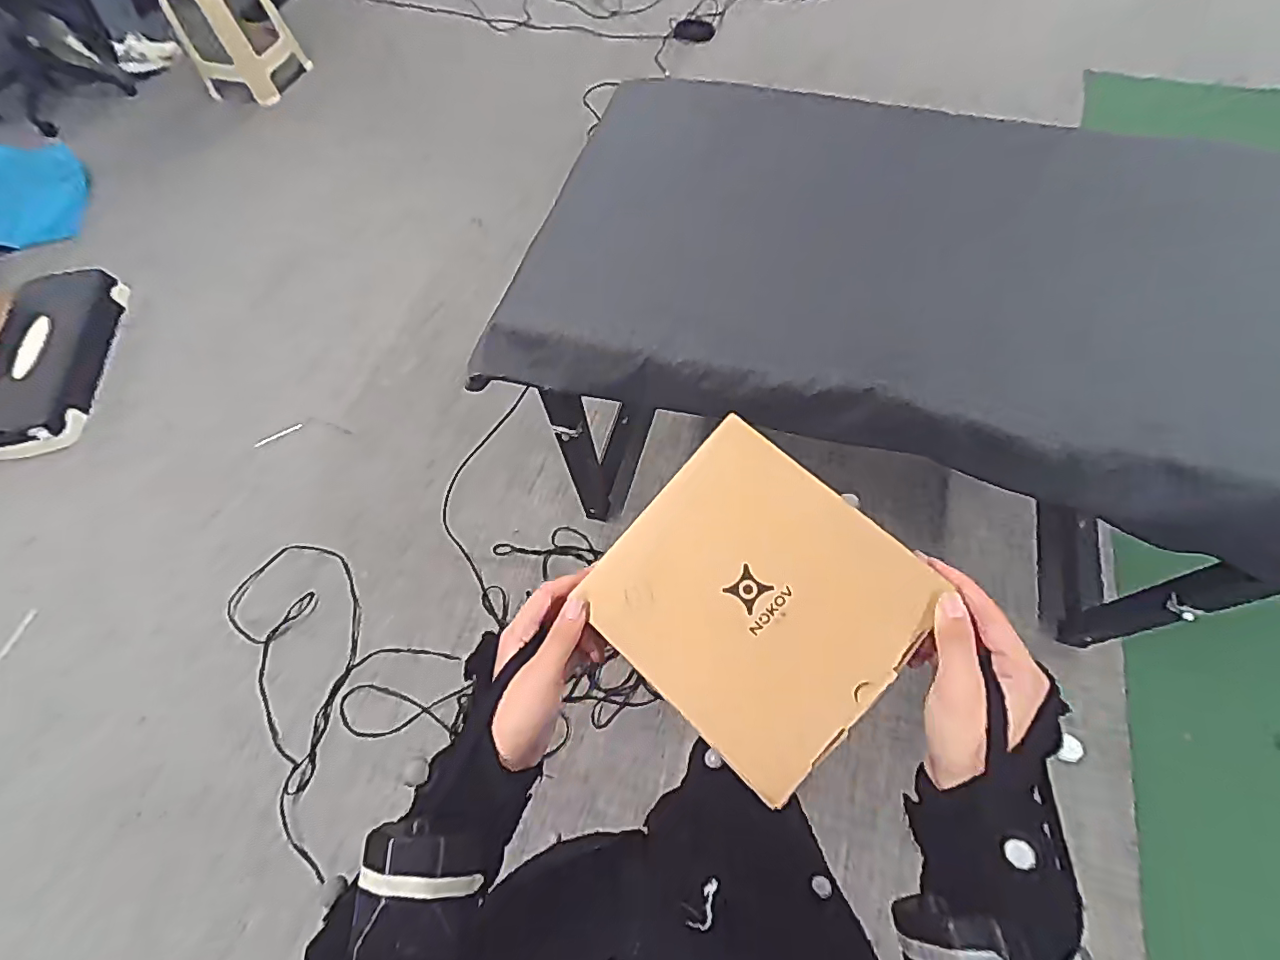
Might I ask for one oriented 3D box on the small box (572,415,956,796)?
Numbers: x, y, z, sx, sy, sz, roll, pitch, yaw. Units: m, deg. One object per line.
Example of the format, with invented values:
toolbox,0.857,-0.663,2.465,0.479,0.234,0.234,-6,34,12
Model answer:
small box,0.082,0.087,0.409,0.179,0.176,0.168,40,86,15
